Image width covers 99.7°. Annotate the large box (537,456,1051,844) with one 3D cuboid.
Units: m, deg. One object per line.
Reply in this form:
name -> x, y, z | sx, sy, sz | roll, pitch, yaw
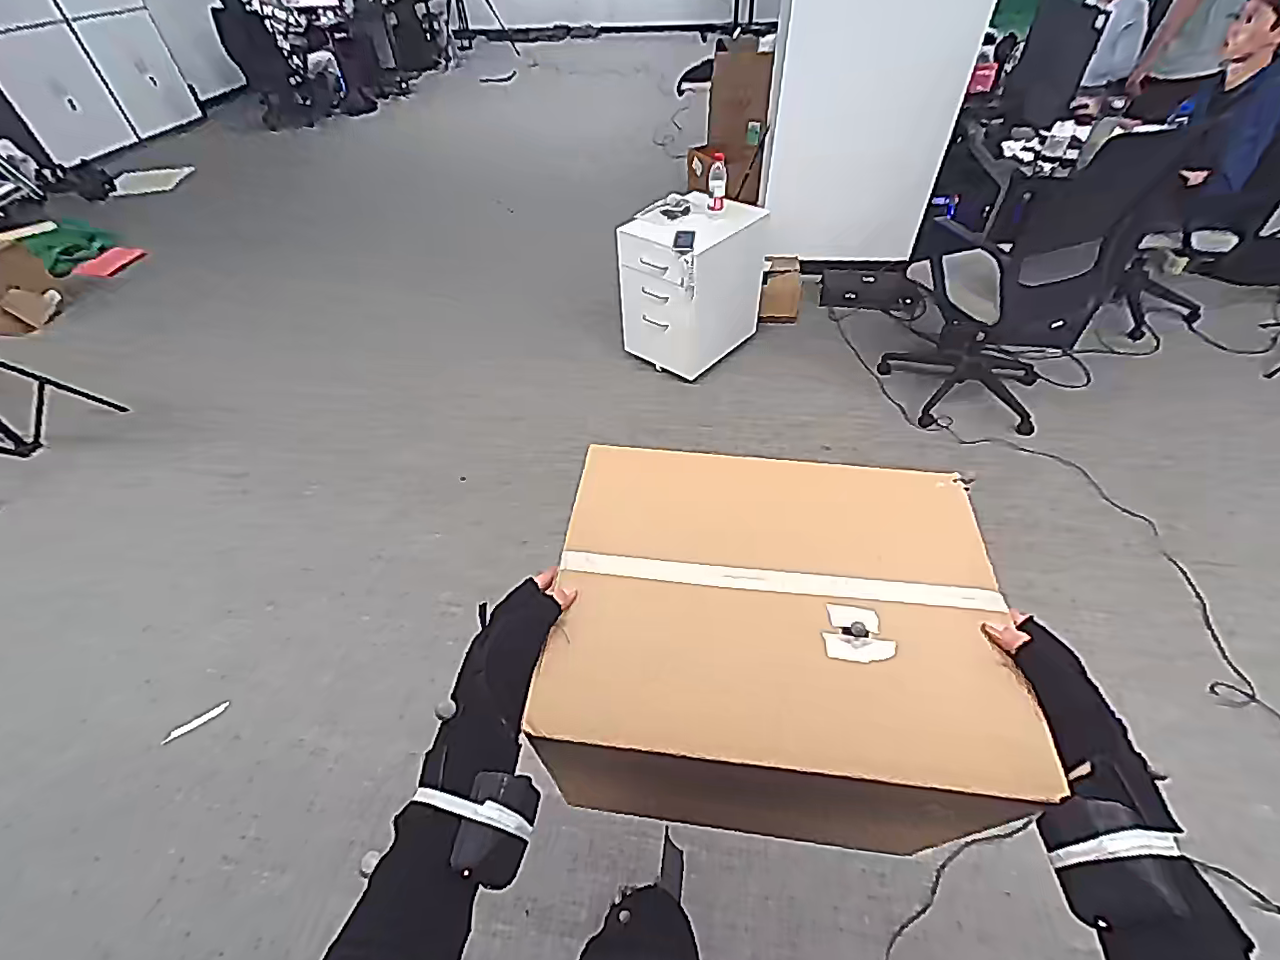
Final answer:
large box -> 0.128, 0.198, 0.624 | 0.408, 0.320, 0.320 | 5, 51, 5
